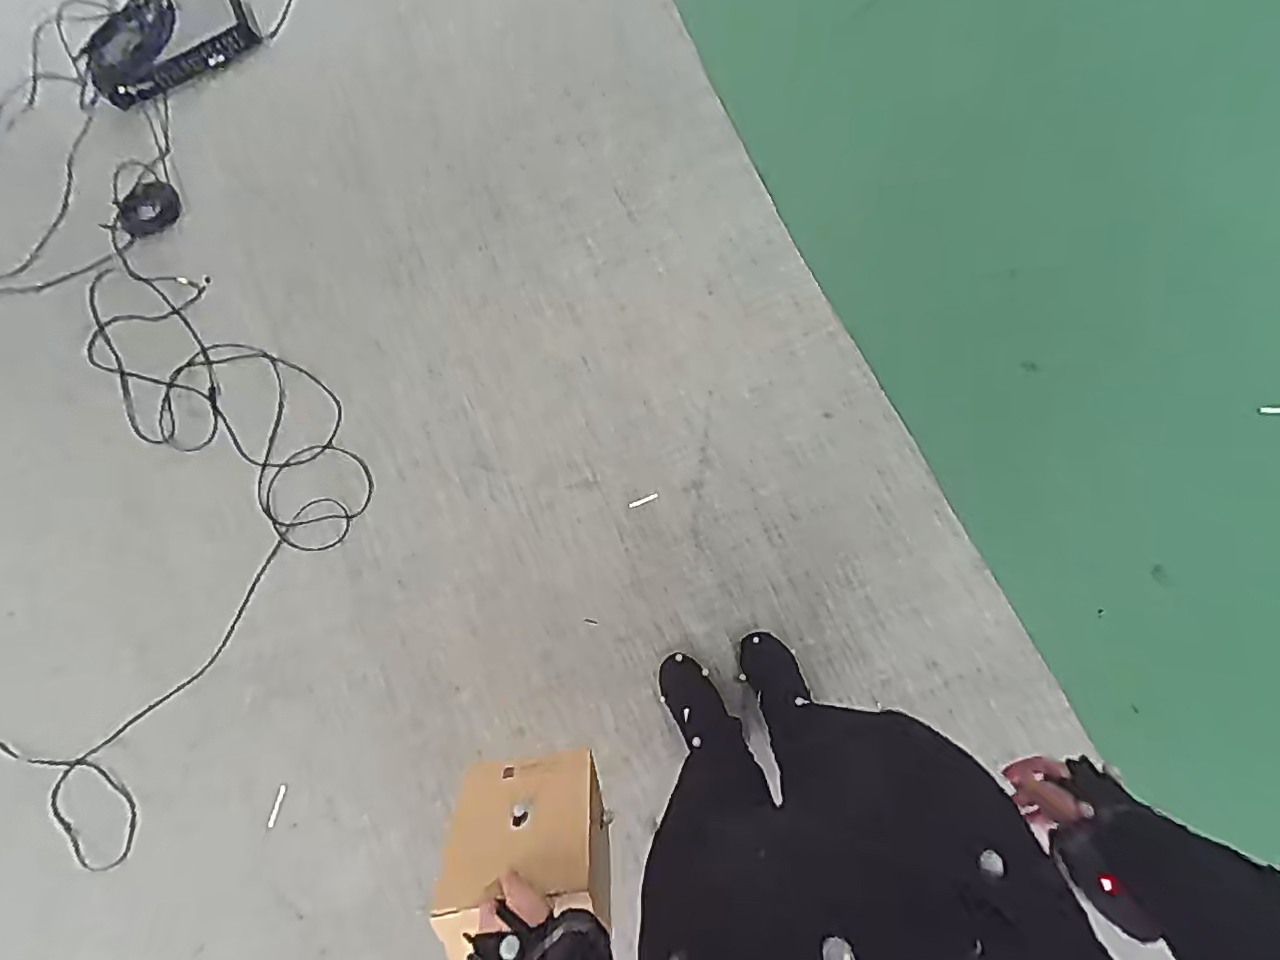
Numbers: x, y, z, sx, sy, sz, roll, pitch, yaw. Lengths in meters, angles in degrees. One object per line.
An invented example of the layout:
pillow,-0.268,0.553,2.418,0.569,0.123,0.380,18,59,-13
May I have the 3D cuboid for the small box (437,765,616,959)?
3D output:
small box,-0.126,0.473,0.655,0.168,0.176,0.179,-9,116,-2
